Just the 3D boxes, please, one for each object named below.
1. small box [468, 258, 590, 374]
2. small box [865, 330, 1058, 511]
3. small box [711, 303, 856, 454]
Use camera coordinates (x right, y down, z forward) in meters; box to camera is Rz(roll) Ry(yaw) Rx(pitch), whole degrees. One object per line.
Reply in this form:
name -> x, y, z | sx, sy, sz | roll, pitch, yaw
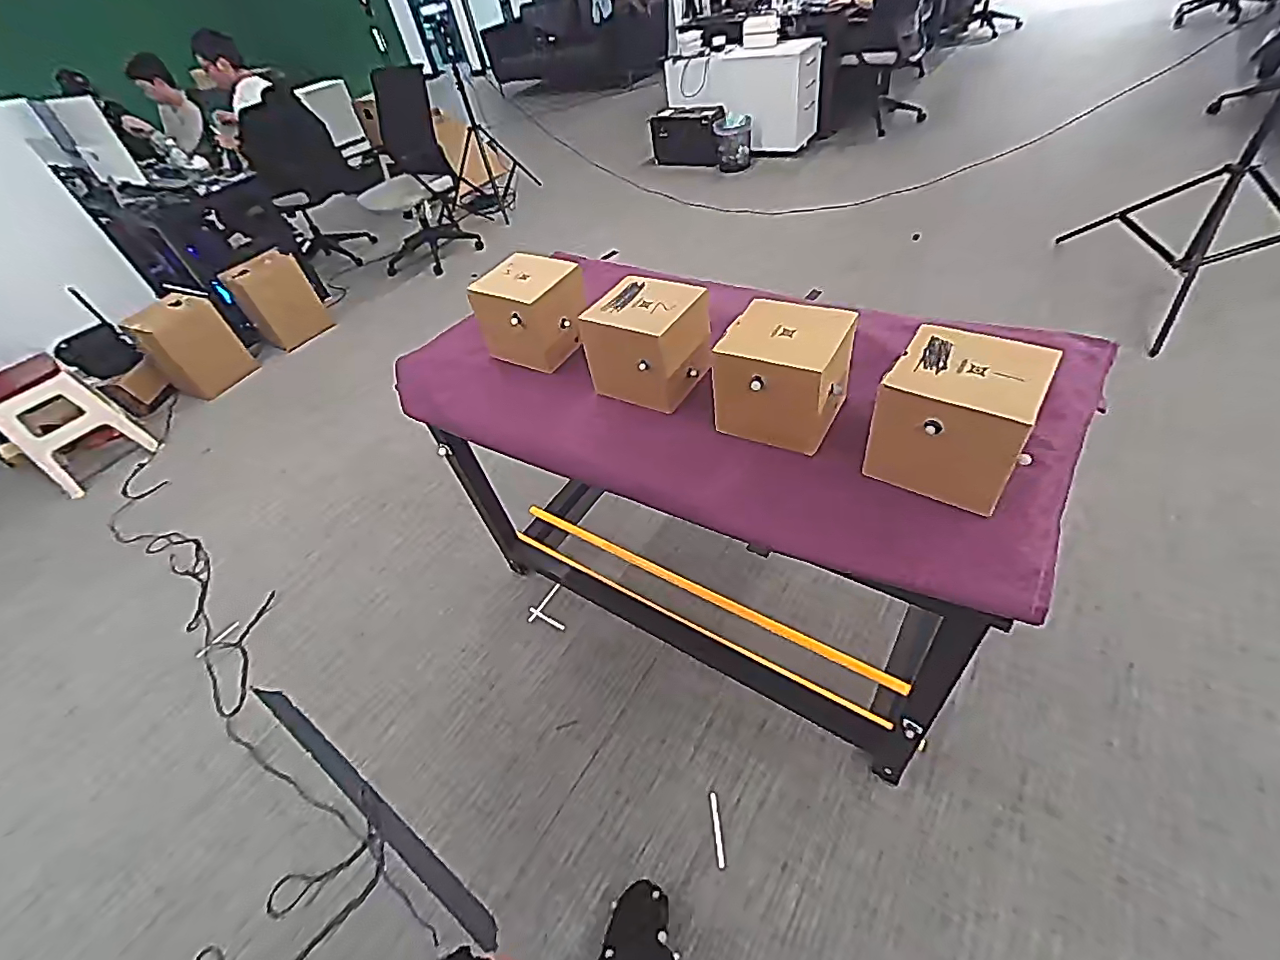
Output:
small box -> -0.228, -0.352, 1.165 | 0.179, 0.176, 0.168 | 20, 53, 25
small box -> 0.438, -0.083, 0.760 | 0.179, 0.176, 0.168 | 24, 55, 30
small box -> 0.235, -0.166, 0.891 | 0.179, 0.176, 0.168 | 18, 53, 28
